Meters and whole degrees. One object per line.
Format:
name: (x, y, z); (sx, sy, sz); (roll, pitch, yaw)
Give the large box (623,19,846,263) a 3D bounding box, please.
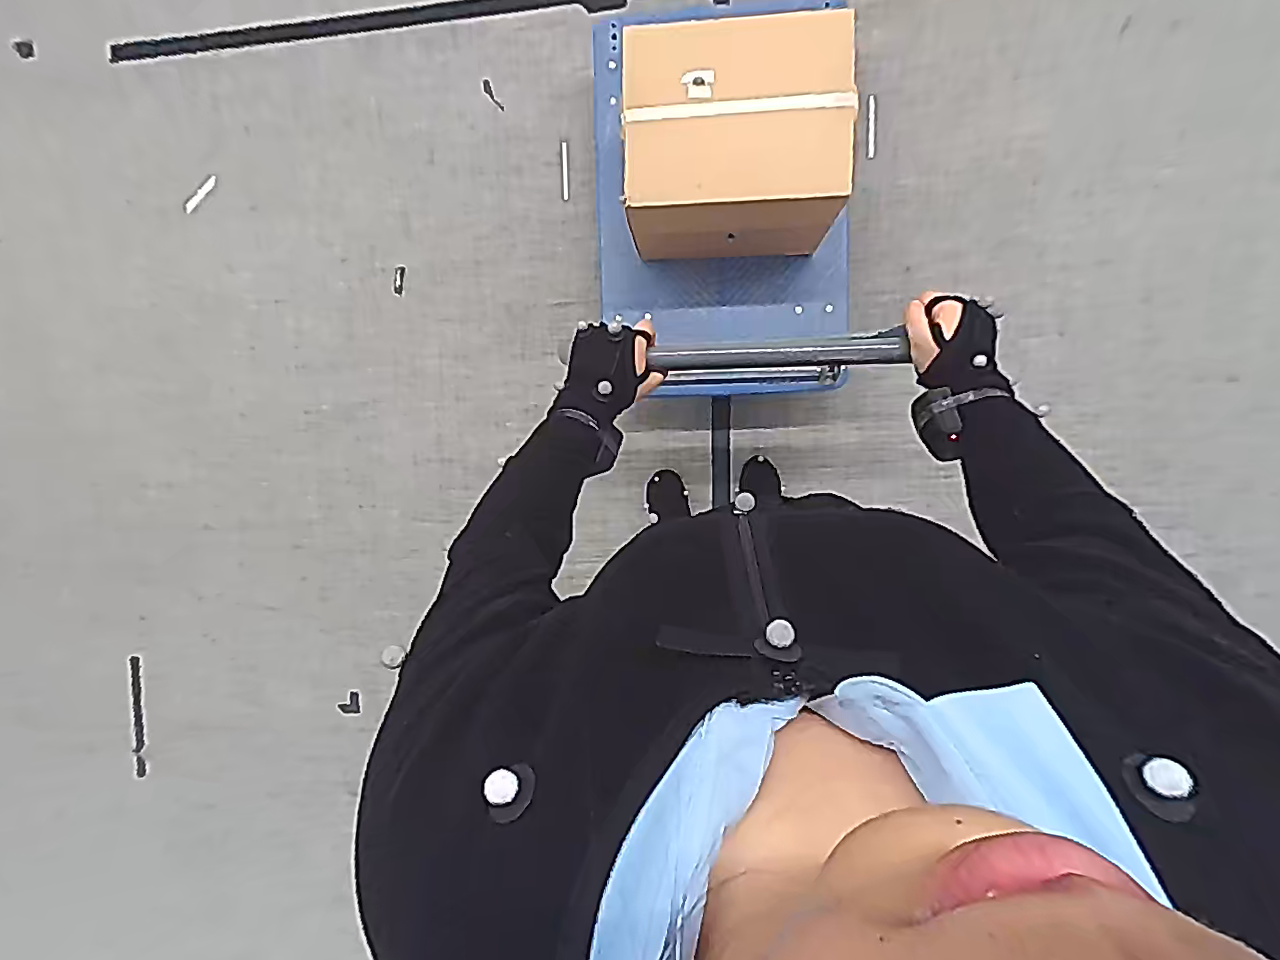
large box: (0.187, -0.665, 1.129); (0.408, 0.320, 0.320); (0, 93, 7)
